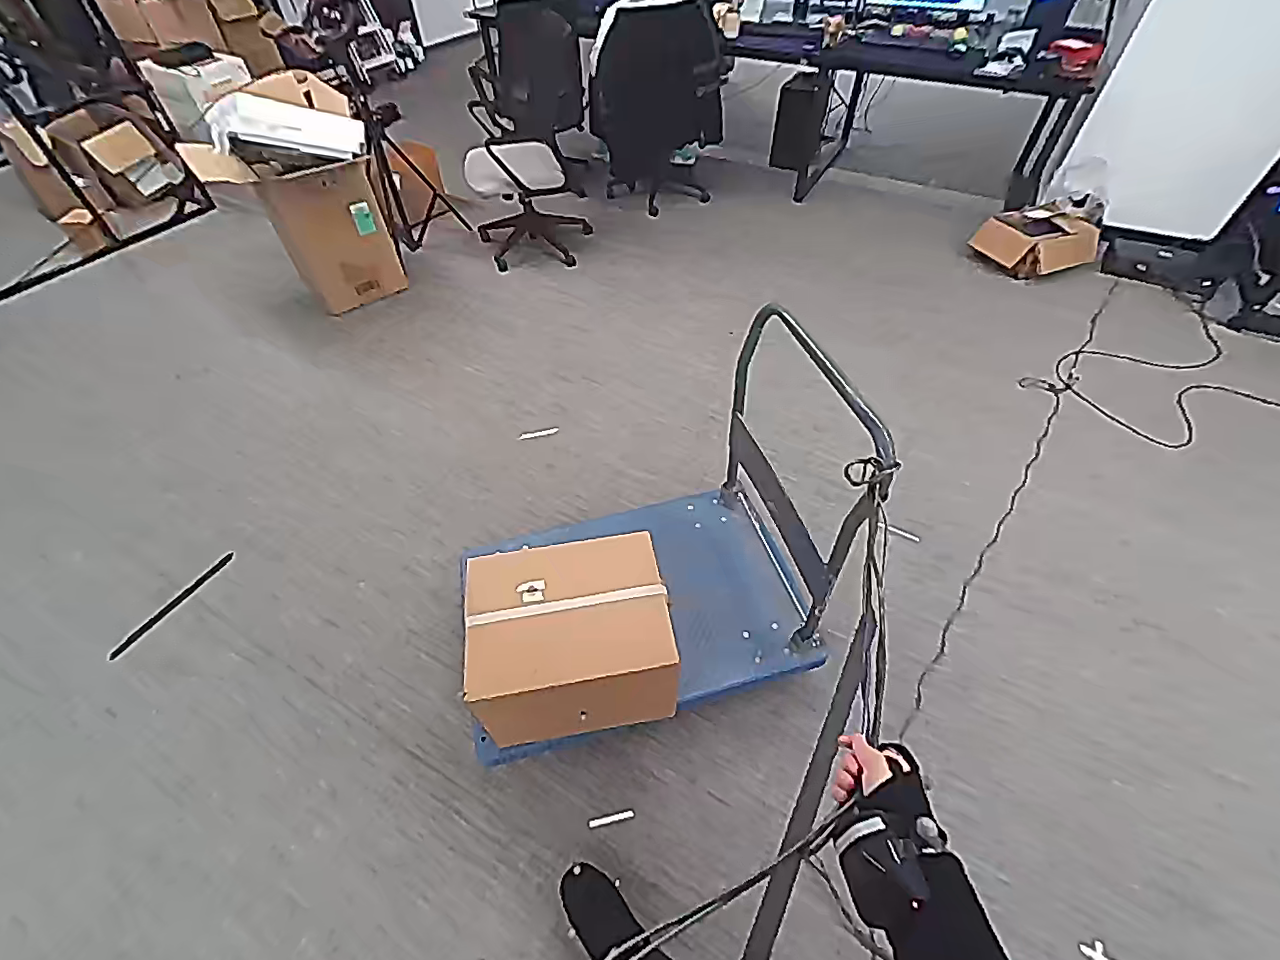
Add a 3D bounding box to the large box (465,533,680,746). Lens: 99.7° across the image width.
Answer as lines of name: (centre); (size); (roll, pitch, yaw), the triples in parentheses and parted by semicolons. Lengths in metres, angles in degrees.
large box: (-0.142, 0.357, 1.201); (0.408, 0.320, 0.320); (-9, 49, -5)
